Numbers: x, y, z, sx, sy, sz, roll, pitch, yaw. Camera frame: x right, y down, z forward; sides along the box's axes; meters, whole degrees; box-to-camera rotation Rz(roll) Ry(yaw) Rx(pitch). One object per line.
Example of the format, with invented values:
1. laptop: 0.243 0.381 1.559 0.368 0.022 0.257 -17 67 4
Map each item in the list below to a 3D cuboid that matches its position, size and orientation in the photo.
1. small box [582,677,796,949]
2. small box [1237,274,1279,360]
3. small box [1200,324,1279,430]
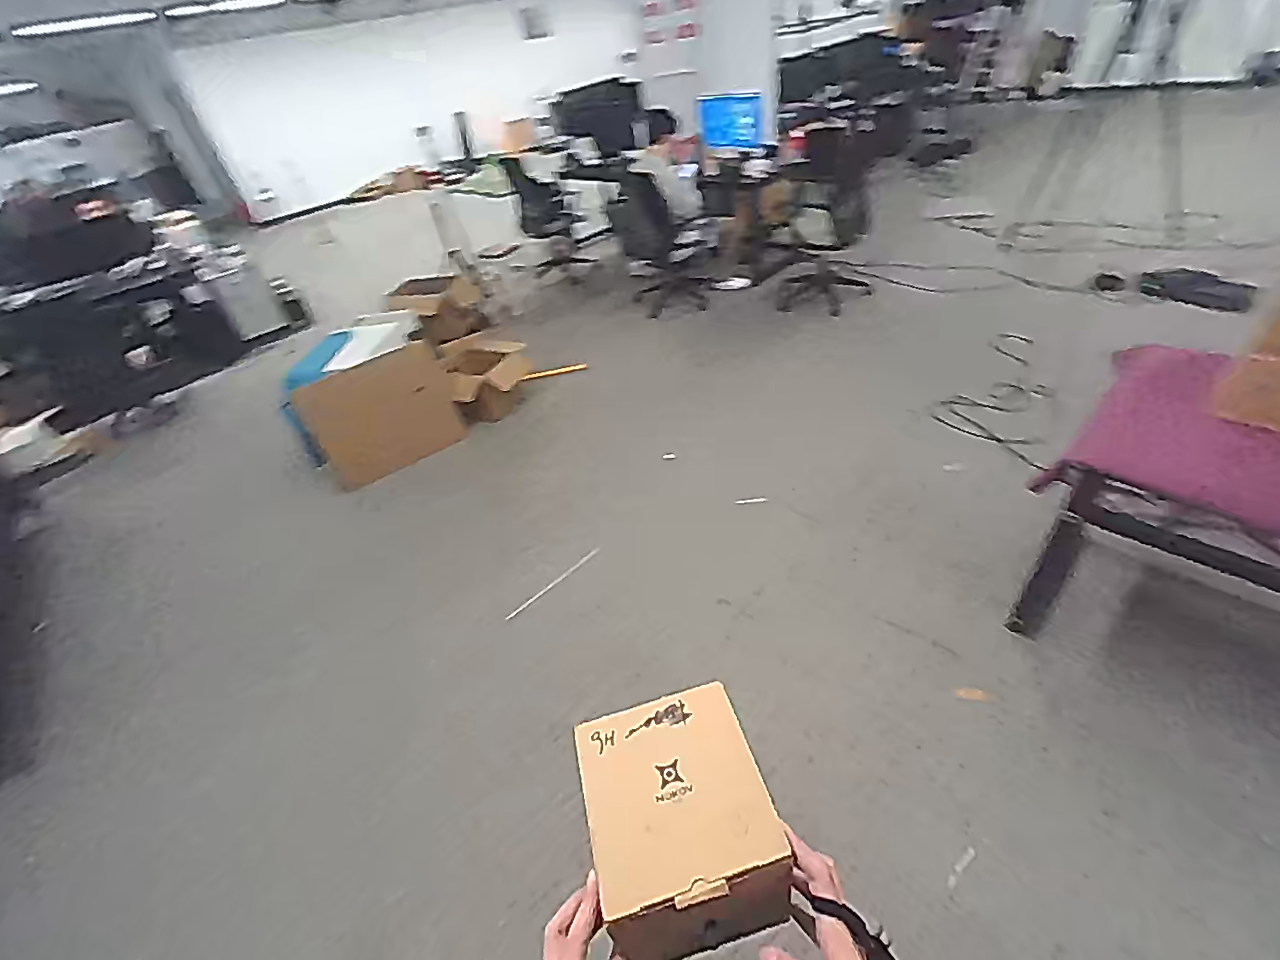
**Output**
1. small box: 0.048 0.341 0.553 0.168 0.176 0.179 -14 38 -5
2. small box: 1.447 -0.363 1.157 0.179 0.176 0.168 -34 44 -25
3. small box: 1.466 -0.239 1.263 0.179 0.176 0.168 -37 45 -29
